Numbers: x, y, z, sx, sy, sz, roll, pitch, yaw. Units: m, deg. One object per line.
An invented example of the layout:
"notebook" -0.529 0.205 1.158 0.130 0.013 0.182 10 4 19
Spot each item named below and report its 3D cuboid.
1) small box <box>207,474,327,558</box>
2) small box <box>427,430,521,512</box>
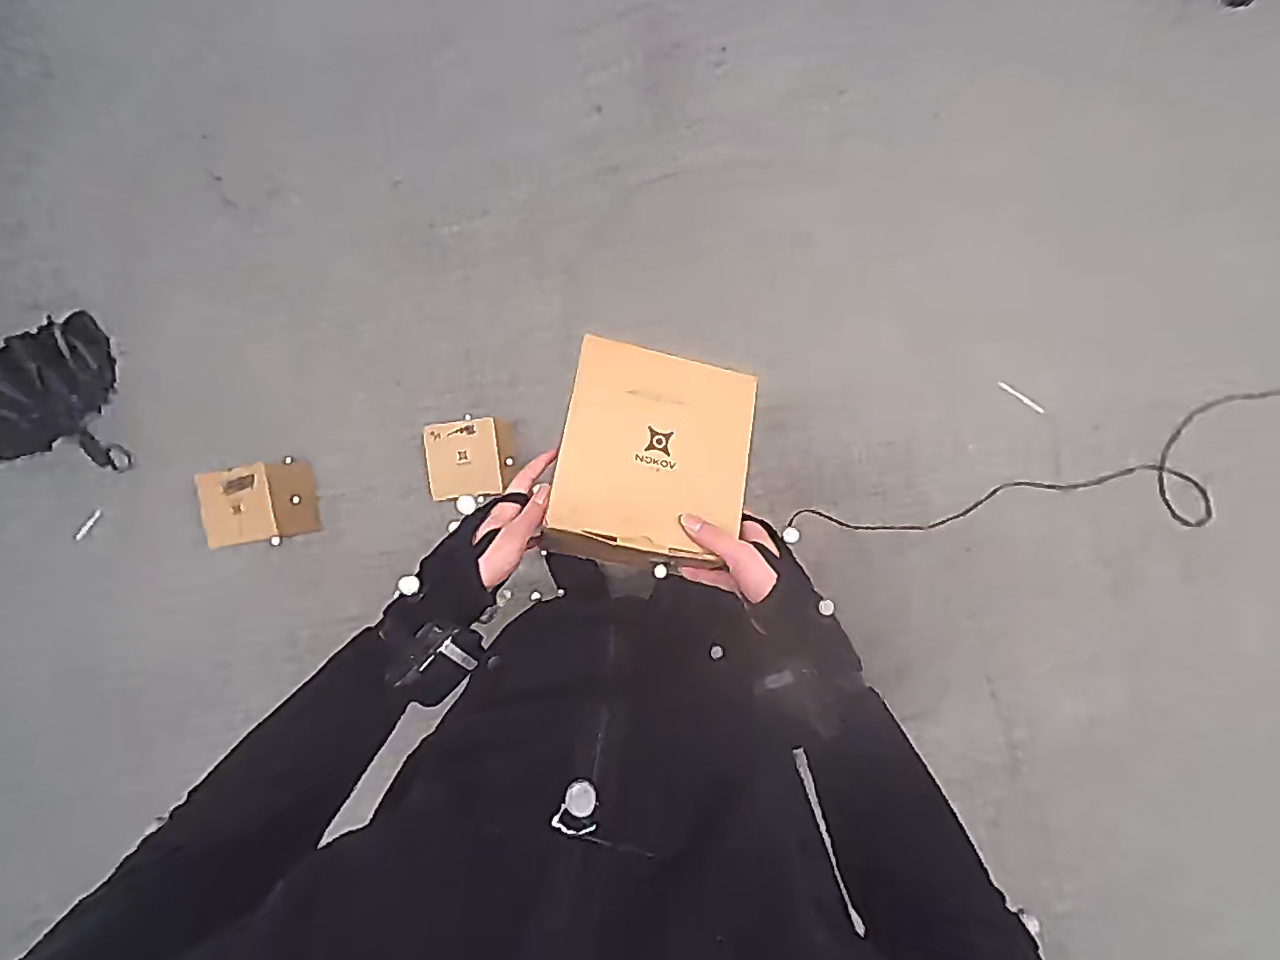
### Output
"small box" -0.912 0.083 1.335 0.168 0.176 0.179 -10 92 1
"small box" -0.400 -0.024 1.326 0.168 0.176 0.179 -8 91 1
